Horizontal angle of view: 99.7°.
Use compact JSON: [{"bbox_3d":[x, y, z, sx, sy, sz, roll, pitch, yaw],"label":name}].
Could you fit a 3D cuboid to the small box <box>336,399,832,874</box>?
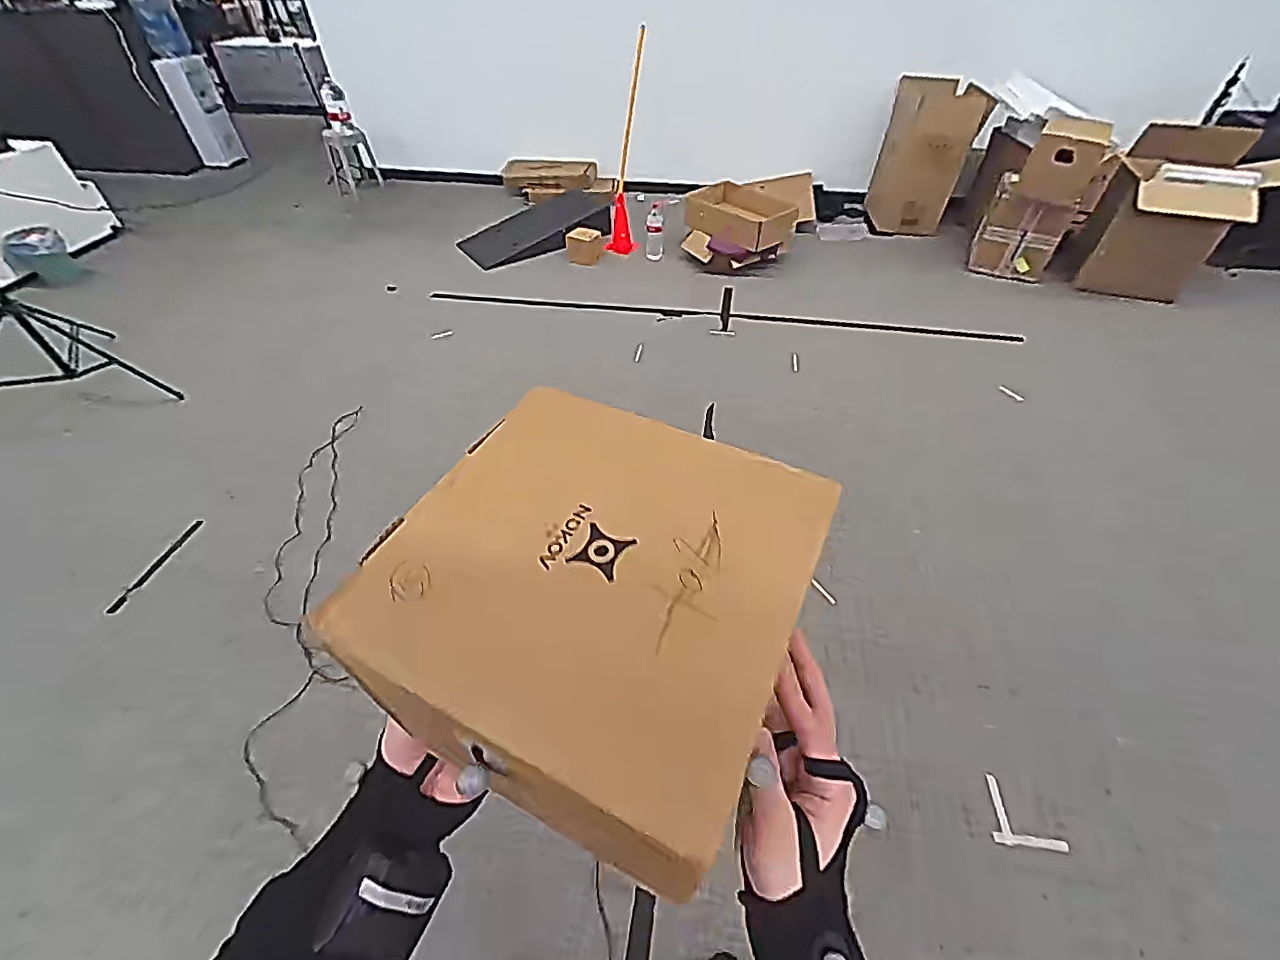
[{"bbox_3d":[-0.016,0.086,0.305,0.179,0.176,0.168,20,51,19],"label":"small box"}]
